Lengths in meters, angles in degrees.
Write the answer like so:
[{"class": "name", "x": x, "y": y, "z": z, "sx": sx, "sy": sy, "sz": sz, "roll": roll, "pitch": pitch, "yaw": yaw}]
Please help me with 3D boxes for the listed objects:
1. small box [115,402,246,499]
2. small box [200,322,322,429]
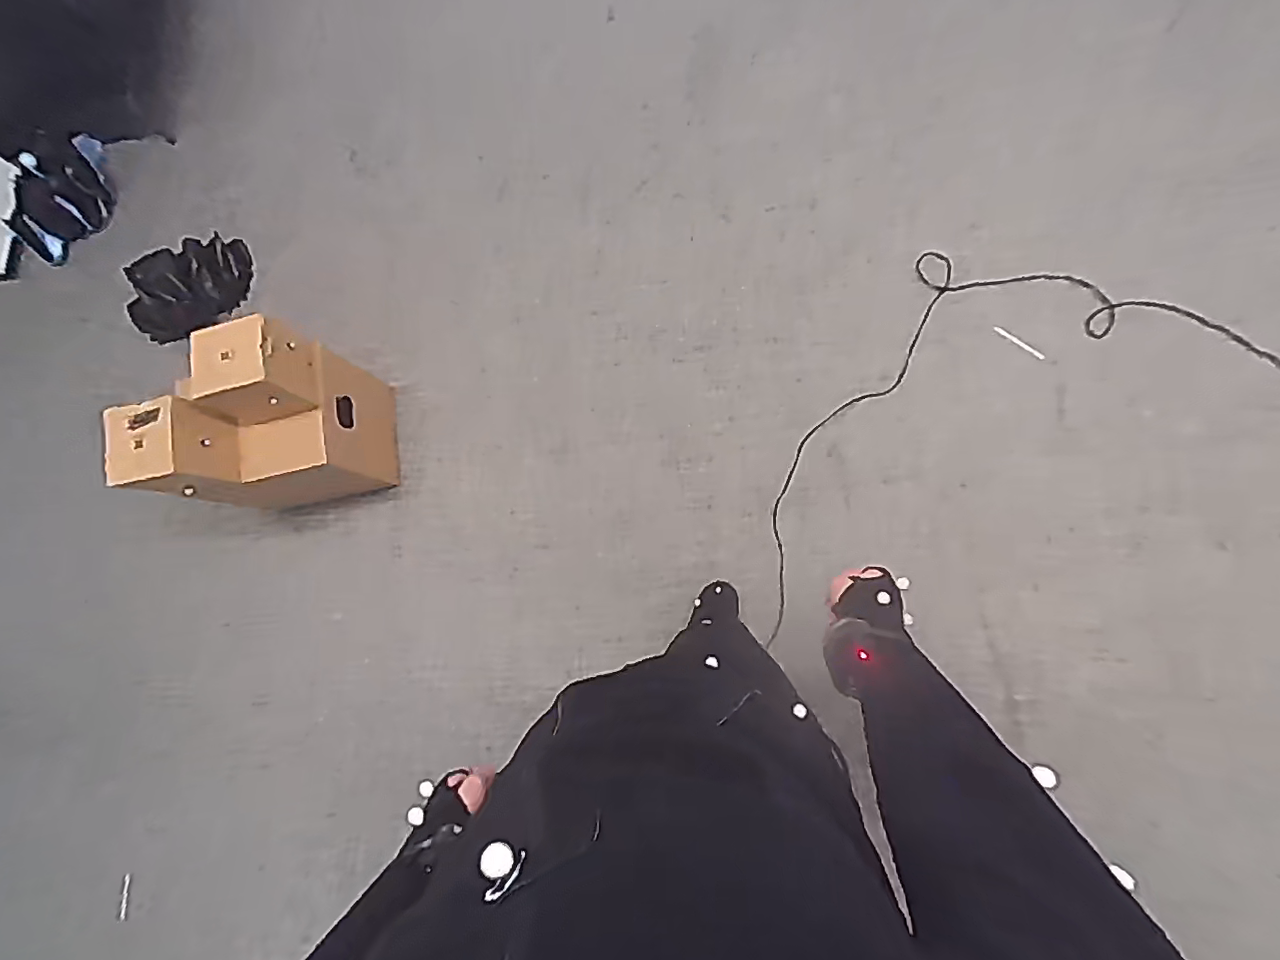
[{"class": "small box", "x": -1.049, "y": -0.061, "z": 1.246, "sx": 0.168, "sy": 0.176, "sz": 0.179, "roll": -10, "pitch": 81, "yaw": 6}, {"class": "small box", "x": -0.867, "y": -0.235, "z": 1.254, "sx": 0.179, "sy": 0.176, "sz": 0.168, "roll": -15, "pitch": 74, "yaw": 7}]
